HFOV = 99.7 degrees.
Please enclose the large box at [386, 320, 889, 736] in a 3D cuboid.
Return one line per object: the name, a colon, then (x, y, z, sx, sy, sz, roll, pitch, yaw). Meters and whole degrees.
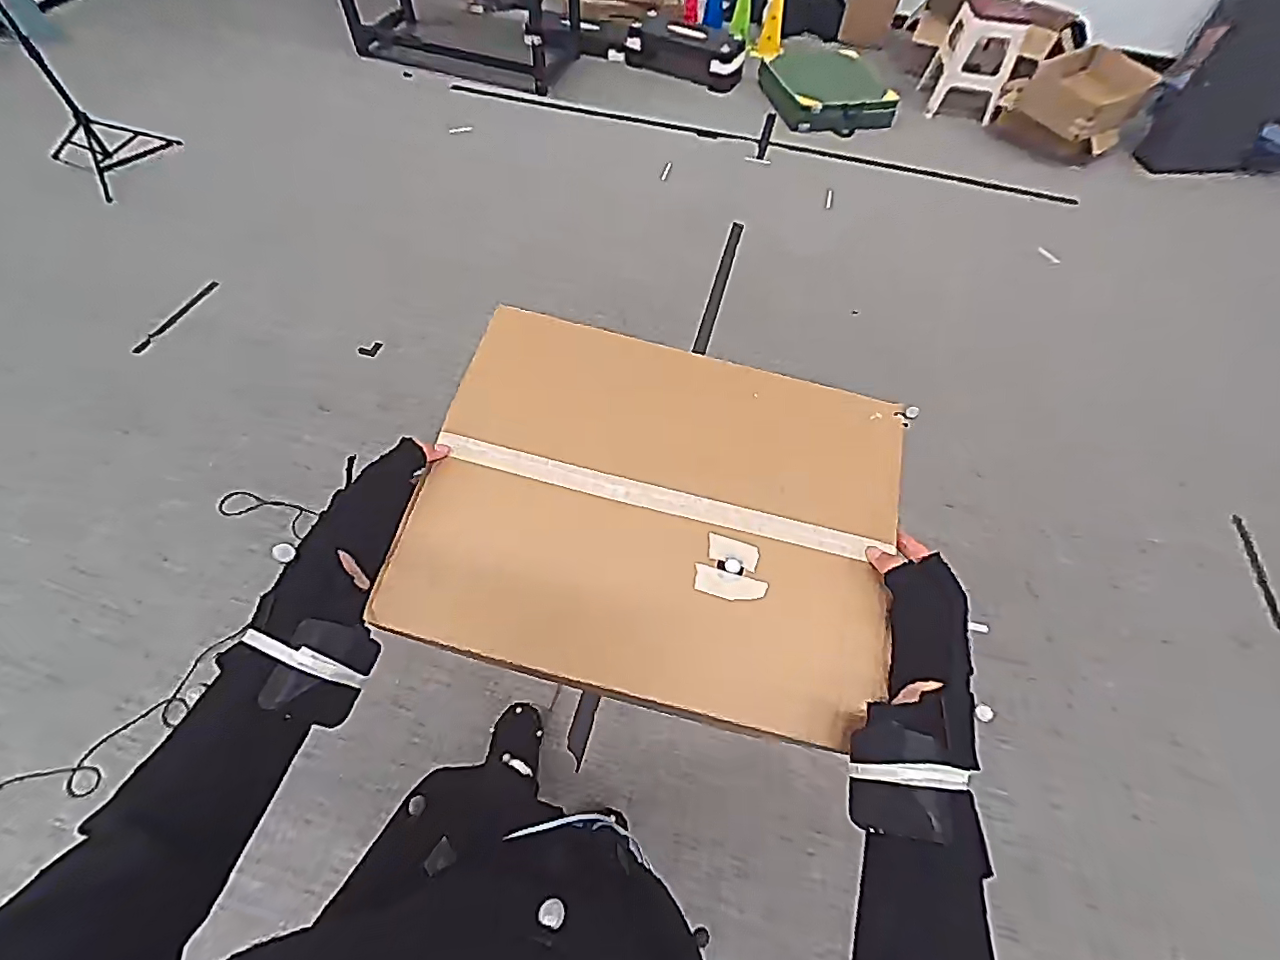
large box: (0.008, 0.075, 0.617, 0.408, 0.320, 0.320, 14, 68, 0)
